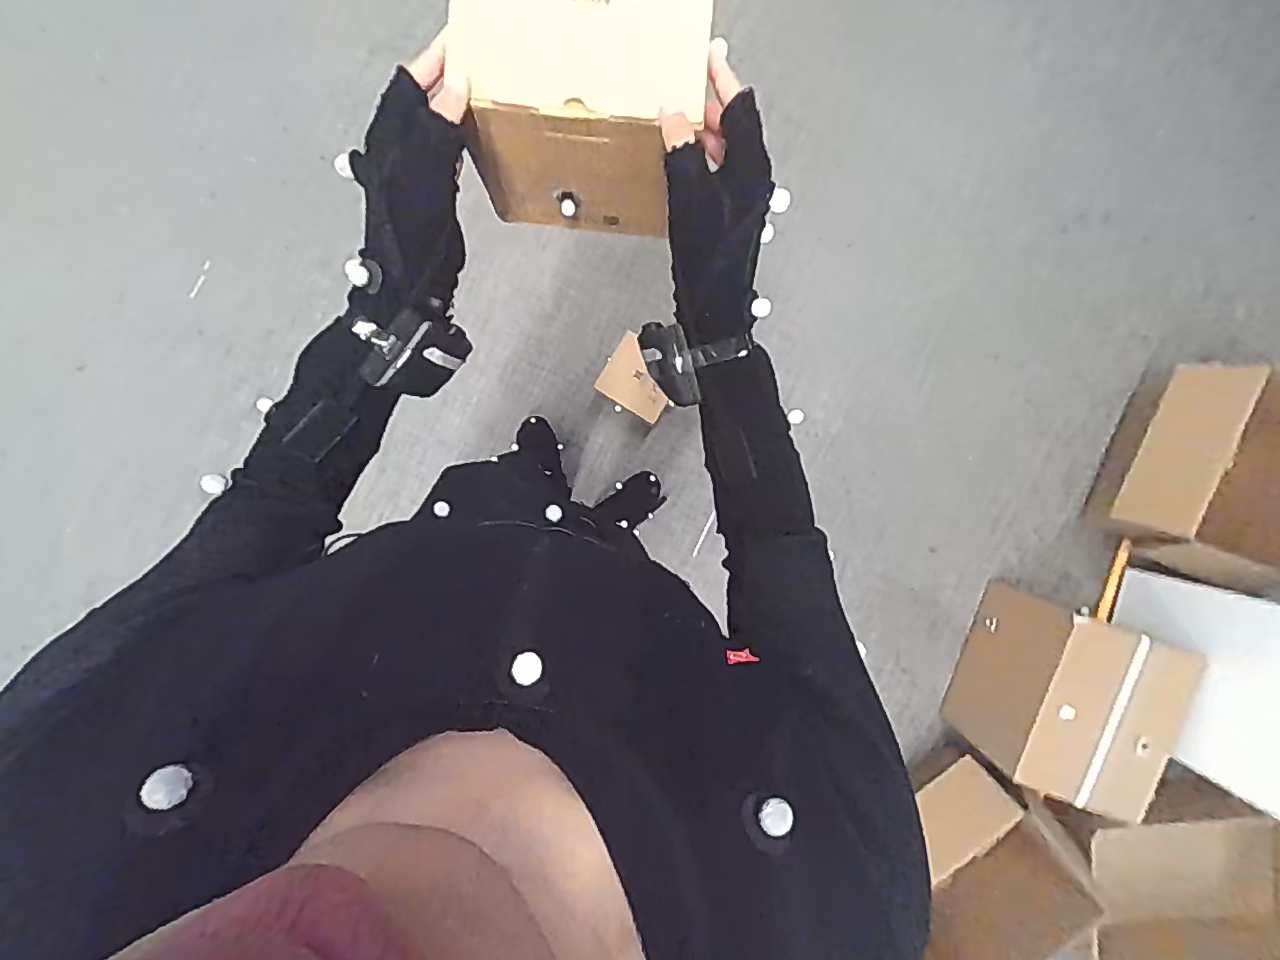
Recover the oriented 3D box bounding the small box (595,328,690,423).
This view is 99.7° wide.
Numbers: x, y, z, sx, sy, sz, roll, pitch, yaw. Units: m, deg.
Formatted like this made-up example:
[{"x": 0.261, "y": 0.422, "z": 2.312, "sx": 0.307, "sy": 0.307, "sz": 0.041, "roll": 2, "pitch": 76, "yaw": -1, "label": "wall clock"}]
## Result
[{"x": 0.005, "y": -0.256, "z": 1.377, "sx": 0.179, "sy": 0.176, "sz": 0.168, "roll": 32, "pitch": 93, "yaw": -1, "label": "small box"}]
